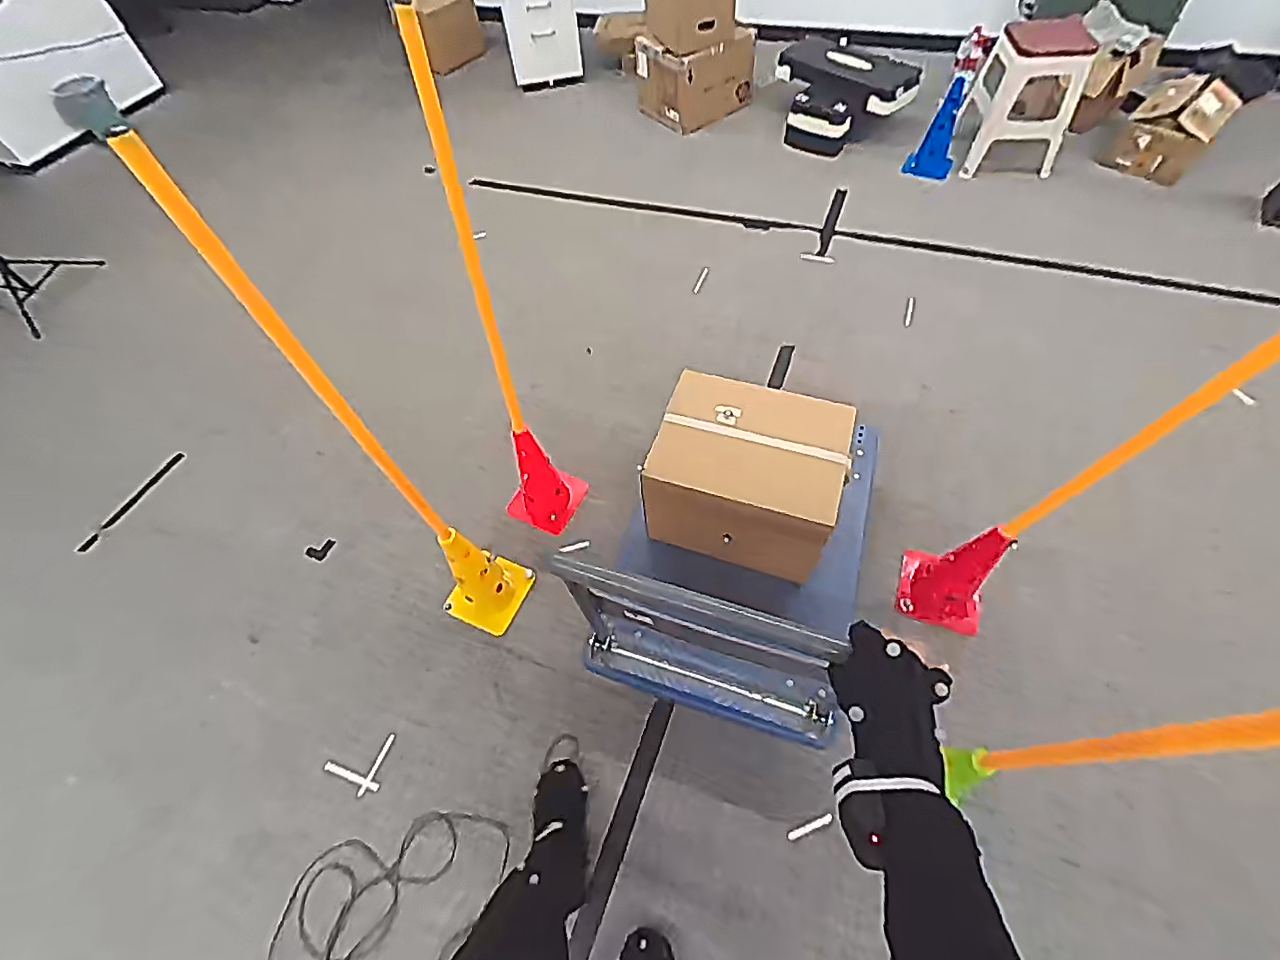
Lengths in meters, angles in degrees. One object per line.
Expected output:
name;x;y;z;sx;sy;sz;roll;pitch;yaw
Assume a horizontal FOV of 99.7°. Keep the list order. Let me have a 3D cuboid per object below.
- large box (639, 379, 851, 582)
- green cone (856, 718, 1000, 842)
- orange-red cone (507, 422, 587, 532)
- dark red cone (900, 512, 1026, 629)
large box;0.246;0.007;1.297;0.408;0.320;0.320;15;60;14
green cone;0.597;0.578;1.074;0.202;0.368;0.200;20;61;15
orange-red cone;-0.293;-0.040;1.537;0.198;0.360;0.199;24;61;17
dark red cone;0.790;0.188;1.290;0.201;0.394;0.202;17;61;12
